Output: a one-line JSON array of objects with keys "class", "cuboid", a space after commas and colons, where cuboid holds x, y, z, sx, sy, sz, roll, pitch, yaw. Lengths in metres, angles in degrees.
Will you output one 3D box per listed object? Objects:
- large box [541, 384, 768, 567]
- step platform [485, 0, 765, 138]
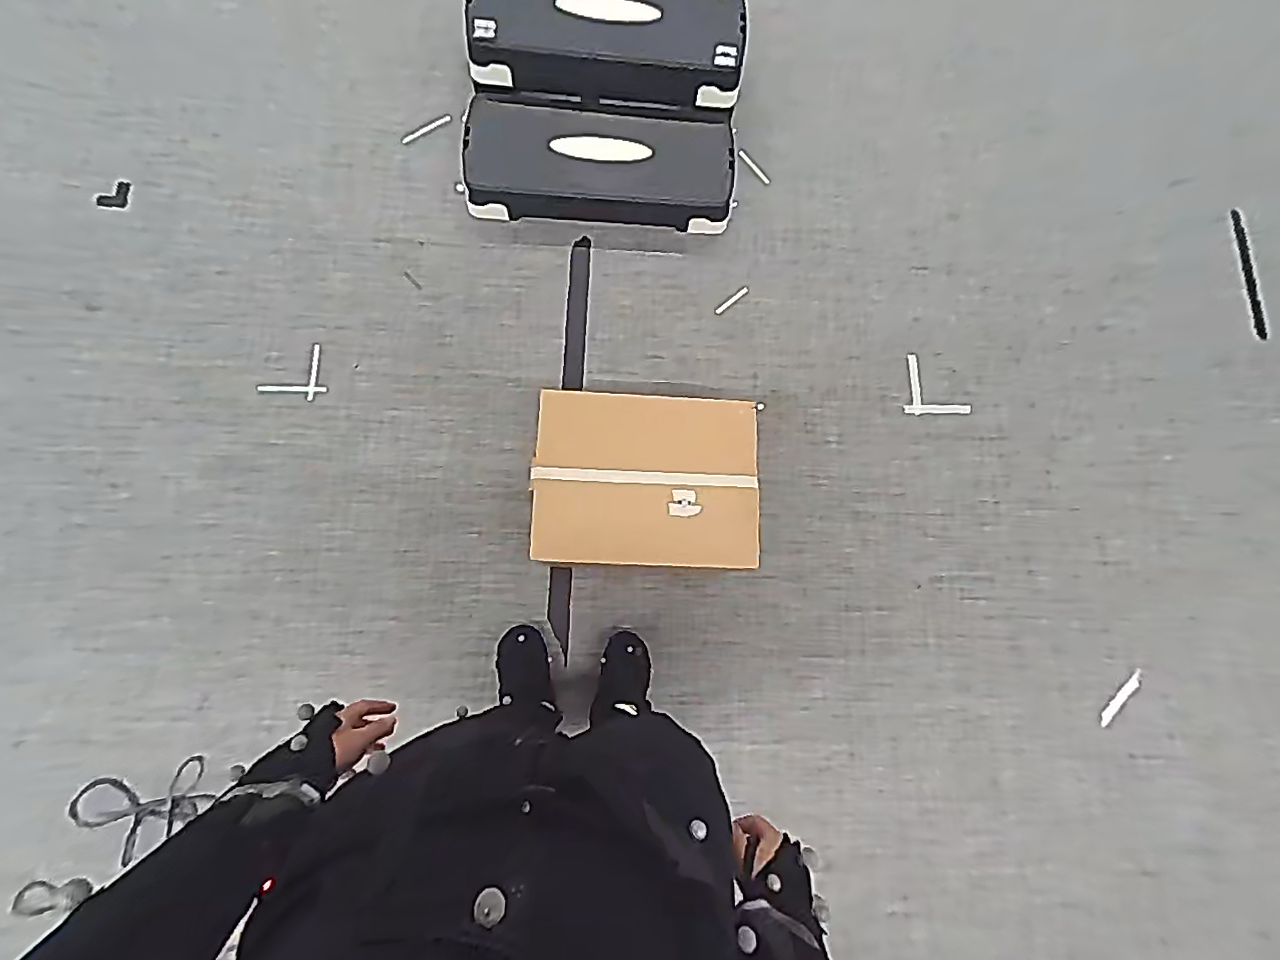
[{"class": "large box", "cuboid": [0.016, 0.014, 1.106, 0.408, 0.320, 0.320, 3, 79, -4]}, {"class": "step platform", "cuboid": [-0.035, -1.104, 1.362, 0.684, 0.204, 0.286, 9, 79, -3]}]
